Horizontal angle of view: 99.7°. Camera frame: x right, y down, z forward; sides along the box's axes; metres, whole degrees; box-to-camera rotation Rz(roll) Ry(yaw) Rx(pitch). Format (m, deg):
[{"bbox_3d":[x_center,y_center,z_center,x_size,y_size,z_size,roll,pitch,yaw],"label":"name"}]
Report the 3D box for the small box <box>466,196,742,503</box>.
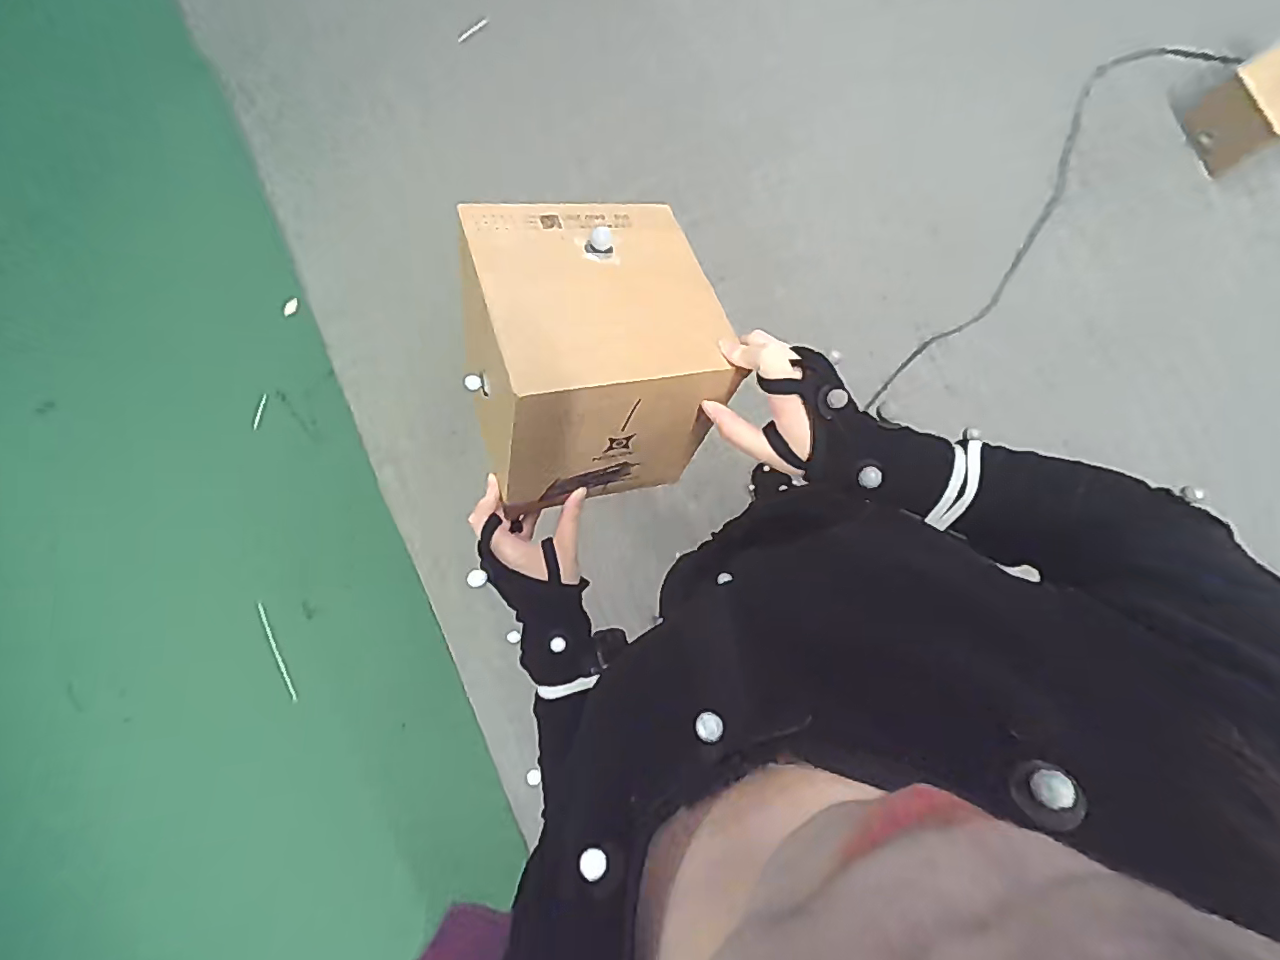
[{"bbox_3d":[-0.046,-0.103,0.454,0.168,0.179,0.176,-10,65,-21],"label":"small box"}]
